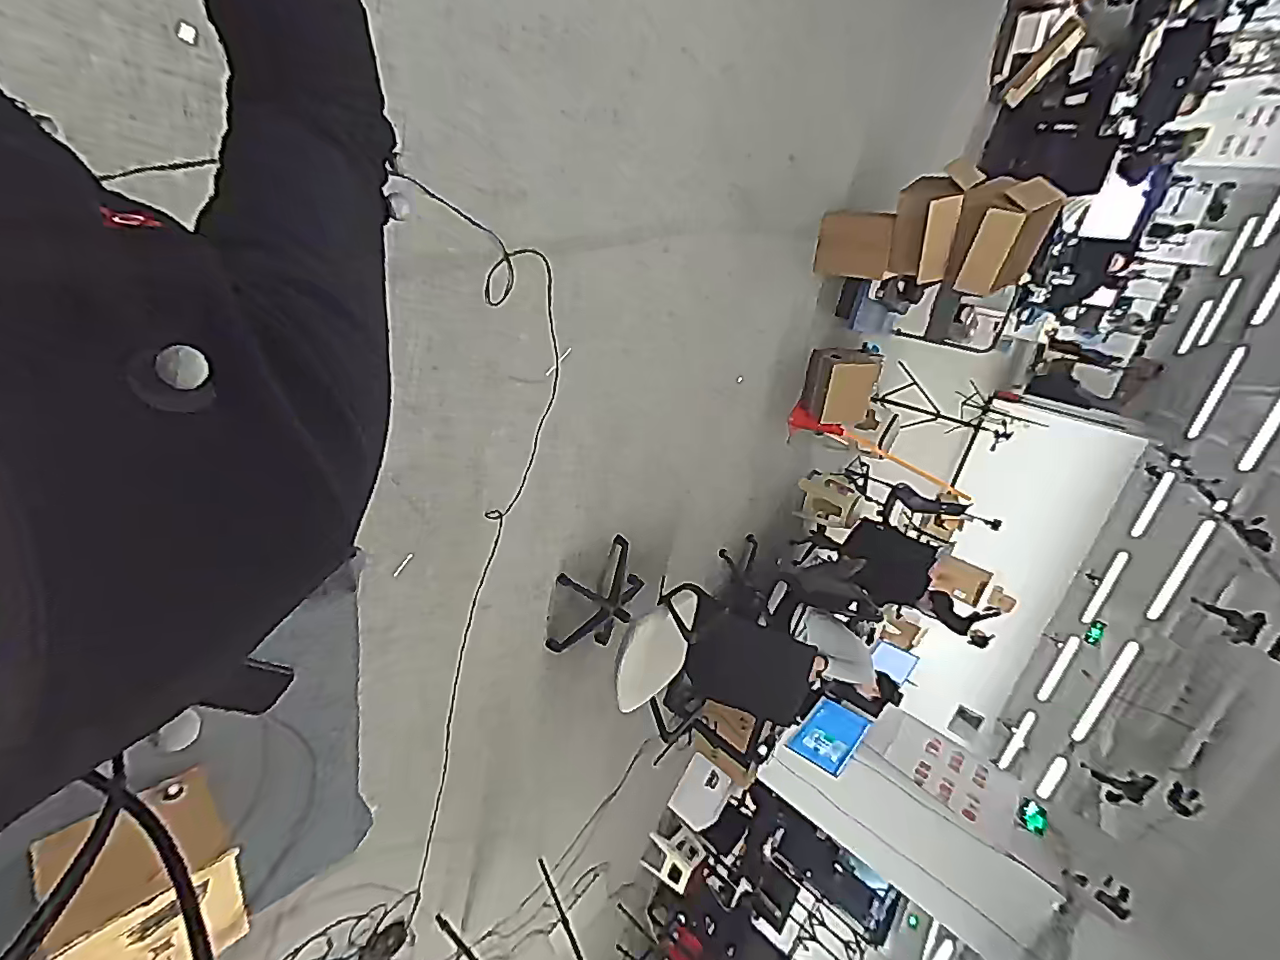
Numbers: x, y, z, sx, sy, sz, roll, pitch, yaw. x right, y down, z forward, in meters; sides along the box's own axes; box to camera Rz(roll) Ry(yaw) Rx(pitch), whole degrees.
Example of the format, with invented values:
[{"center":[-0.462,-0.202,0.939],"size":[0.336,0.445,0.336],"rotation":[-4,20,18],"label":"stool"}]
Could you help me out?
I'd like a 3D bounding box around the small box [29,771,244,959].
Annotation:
[{"center":[-0.653,0.523,0.709],"size":[0.168,0.176,0.179],"rotation":[-18,127,-47],"label":"small box"}]
